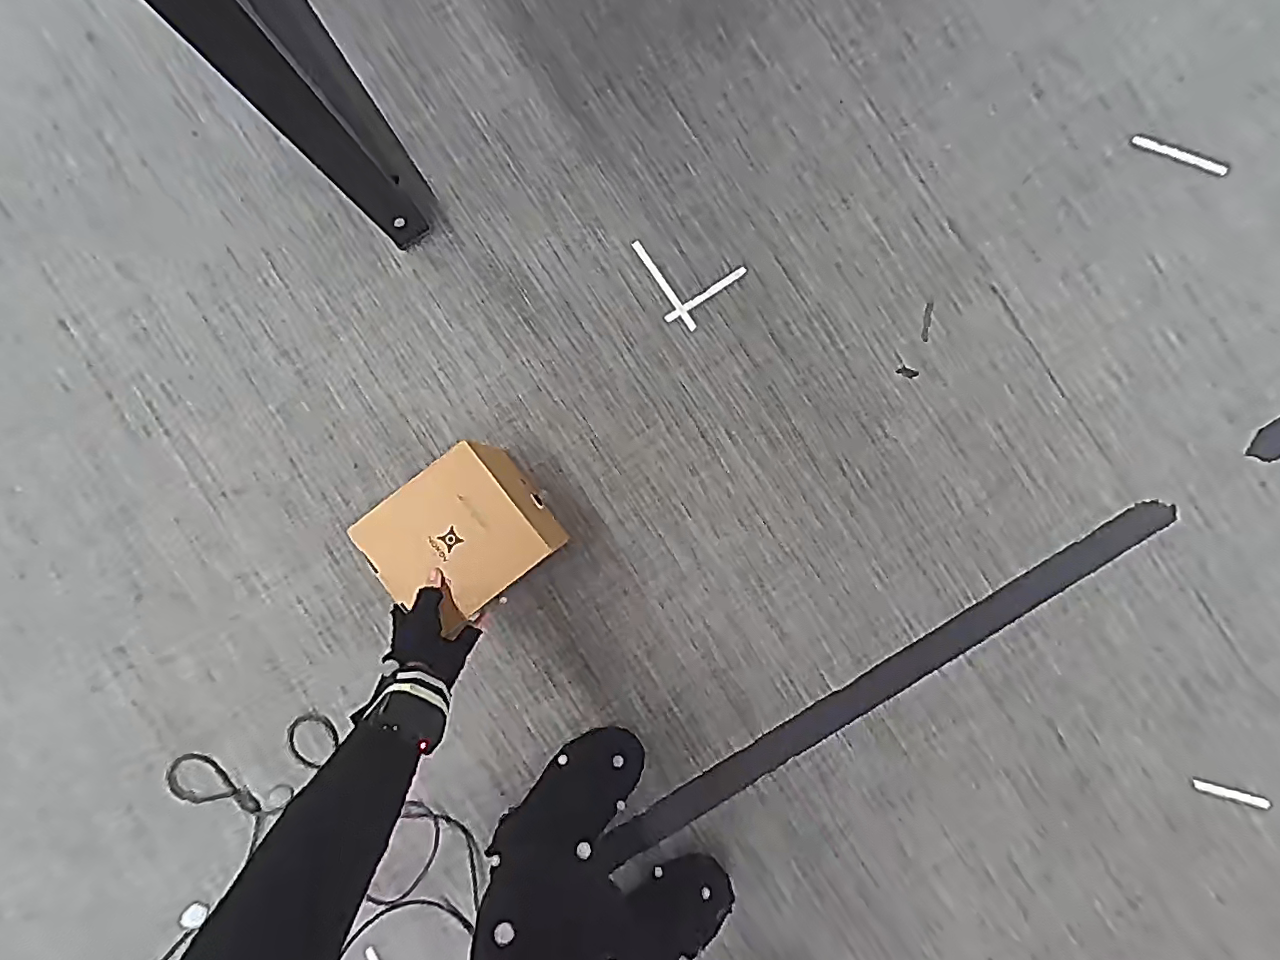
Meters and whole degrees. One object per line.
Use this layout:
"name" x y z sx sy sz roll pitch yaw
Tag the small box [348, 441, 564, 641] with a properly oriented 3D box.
"small box" -0.219 0.071 0.697 0.179 0.176 0.168 -39 90 -1
